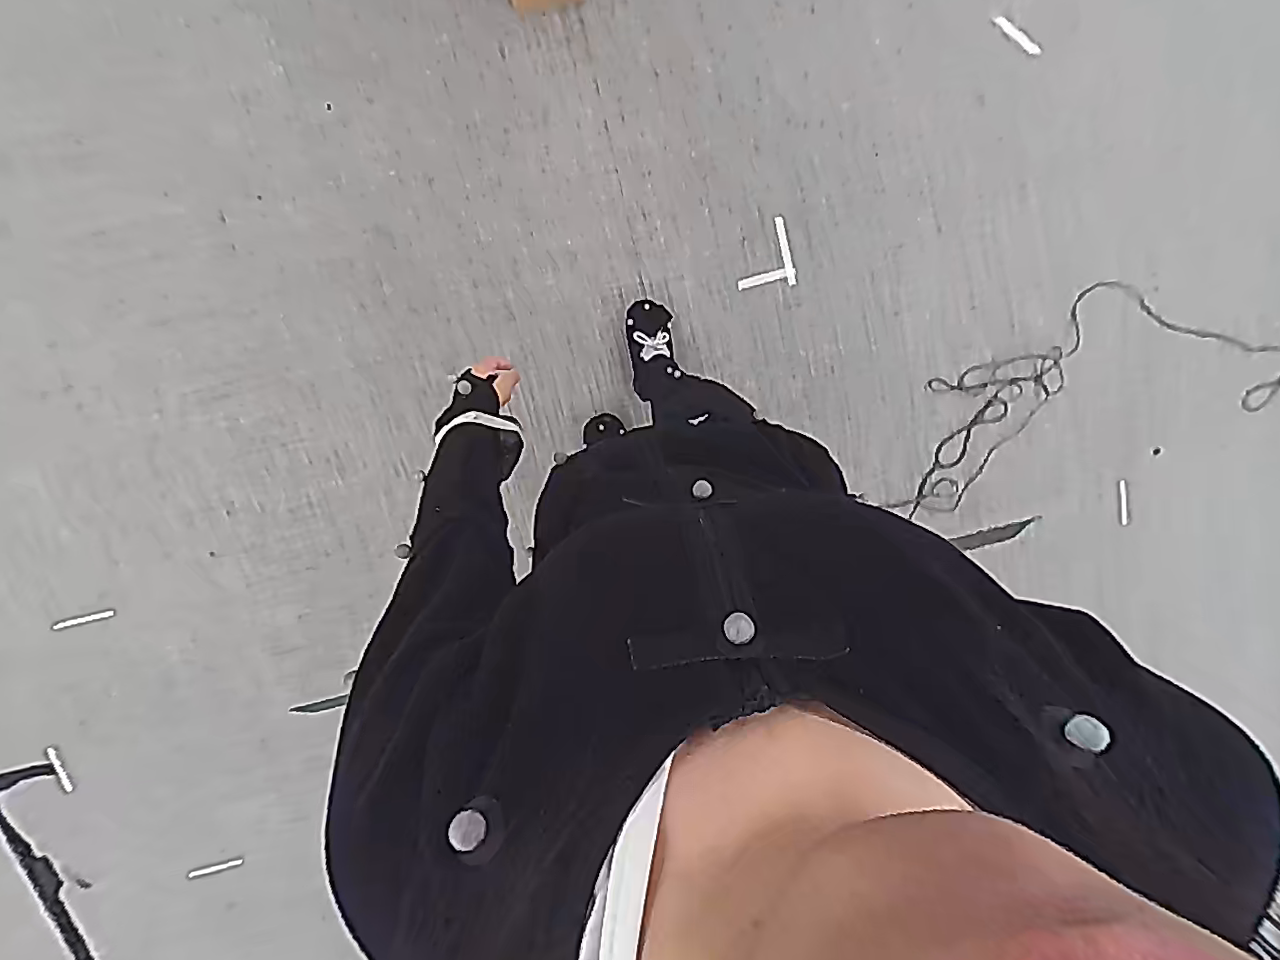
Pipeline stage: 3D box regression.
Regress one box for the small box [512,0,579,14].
[{"bbox_3d":[-0.217,-1.176,1.182,0.179,0.176,0.168,-14,101,-2],"label":"small box"}]
